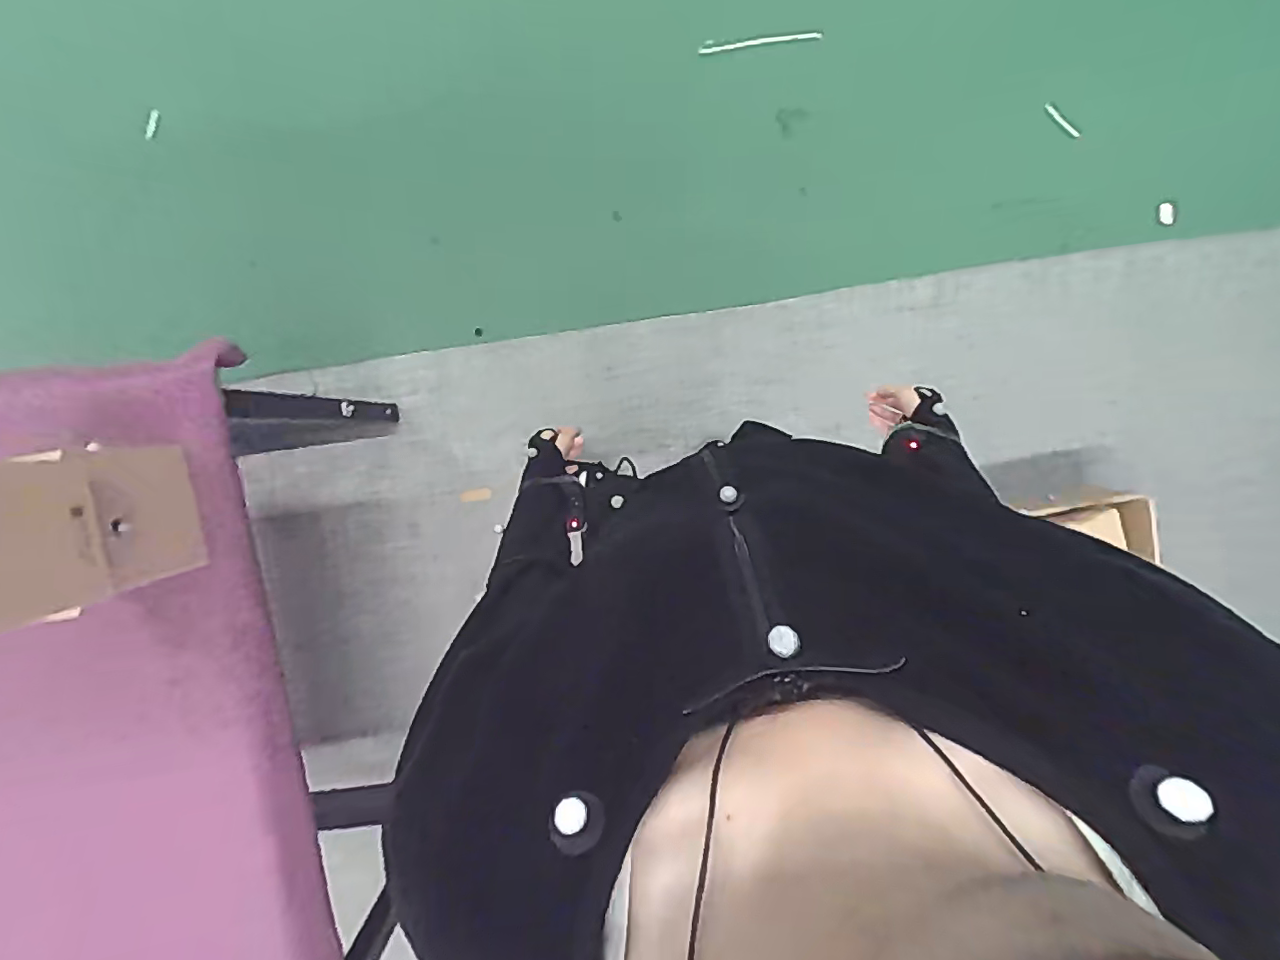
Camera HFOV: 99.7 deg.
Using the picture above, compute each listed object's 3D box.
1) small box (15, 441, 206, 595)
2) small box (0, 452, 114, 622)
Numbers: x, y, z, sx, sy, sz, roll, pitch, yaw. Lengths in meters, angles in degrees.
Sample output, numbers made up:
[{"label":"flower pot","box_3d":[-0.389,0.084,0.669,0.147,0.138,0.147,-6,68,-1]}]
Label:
[{"label":"small box","box_3d":[-0.719,0.049,0.705,0.168,0.176,0.179,-9,95,1]},{"label":"small box","box_3d":[-0.702,0.064,0.541,0.179,0.176,0.168,-7,97,2]}]
